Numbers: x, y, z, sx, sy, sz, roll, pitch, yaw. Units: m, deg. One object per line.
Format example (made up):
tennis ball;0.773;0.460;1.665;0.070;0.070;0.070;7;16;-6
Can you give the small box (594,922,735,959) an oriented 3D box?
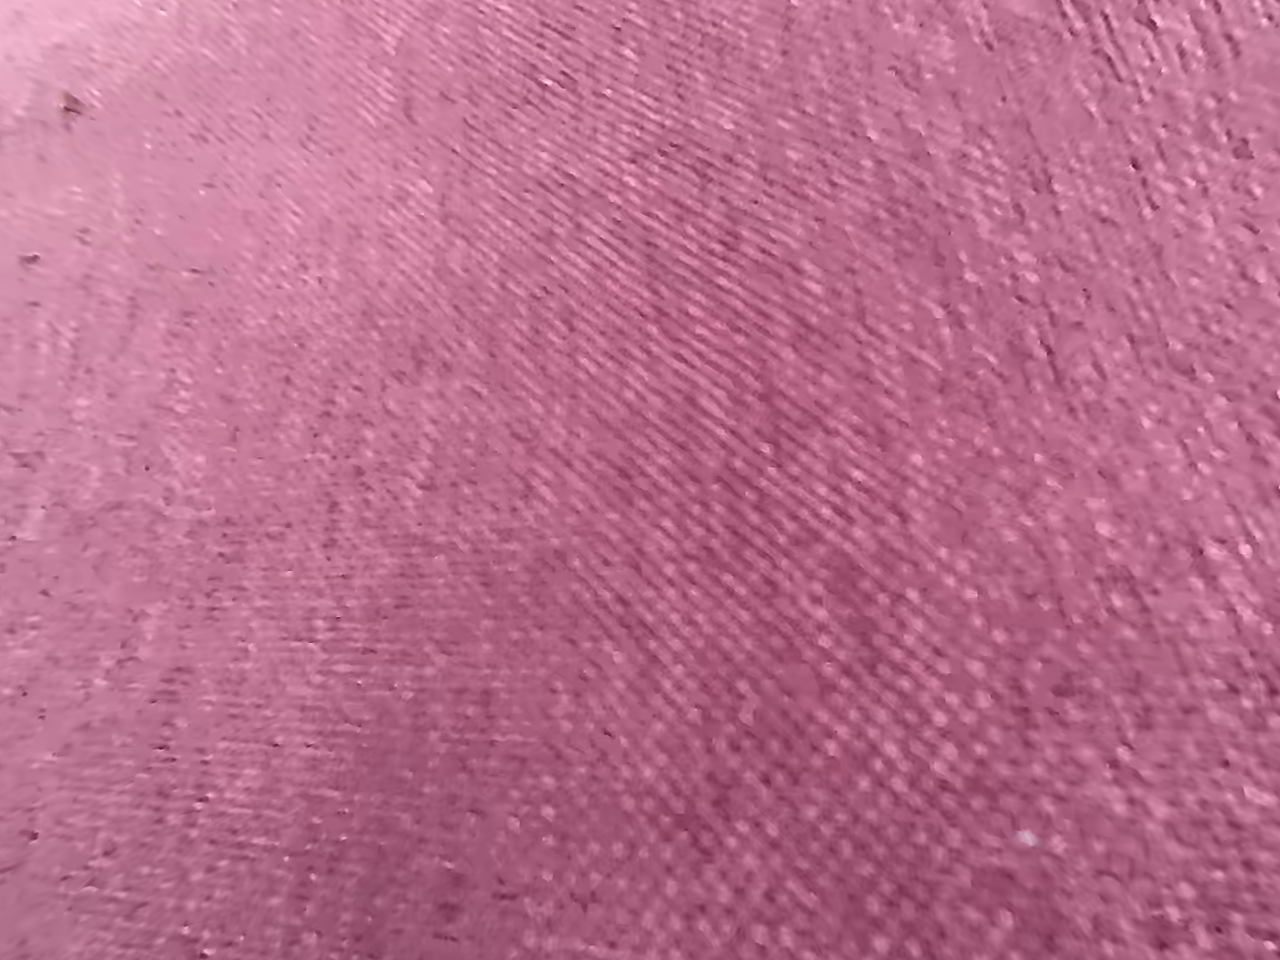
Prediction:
small box;0.017;0.559;0.500;0.179;0.168;0.176;8;76;15
